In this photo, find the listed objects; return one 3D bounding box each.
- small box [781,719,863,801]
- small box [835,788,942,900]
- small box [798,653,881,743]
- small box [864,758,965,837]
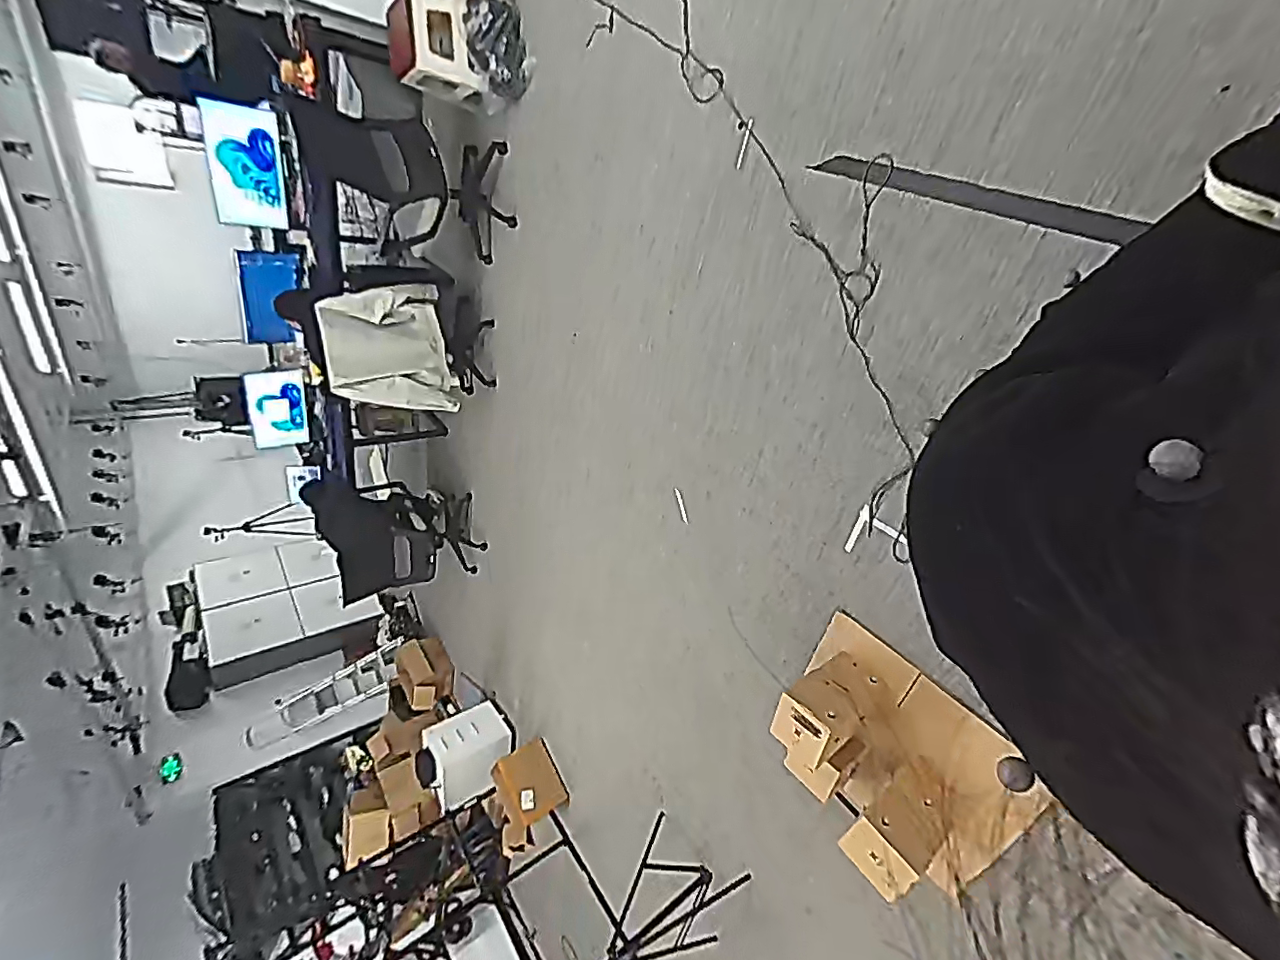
[{"bbox_3d":[0.613,0.923,1.825,0.179,0.176,0.168,35,127,39],"label":"small box"},{"bbox_3d":[0.683,0.988,1.488,0.179,0.176,0.168,43,131,34],"label":"small box"},{"bbox_3d":[0.638,0.685,1.721,0.168,0.176,0.179,35,127,40],"label":"small box"},{"bbox_3d":[0.807,0.955,1.591,0.179,0.176,0.168,42,130,34],"label":"small box"}]
